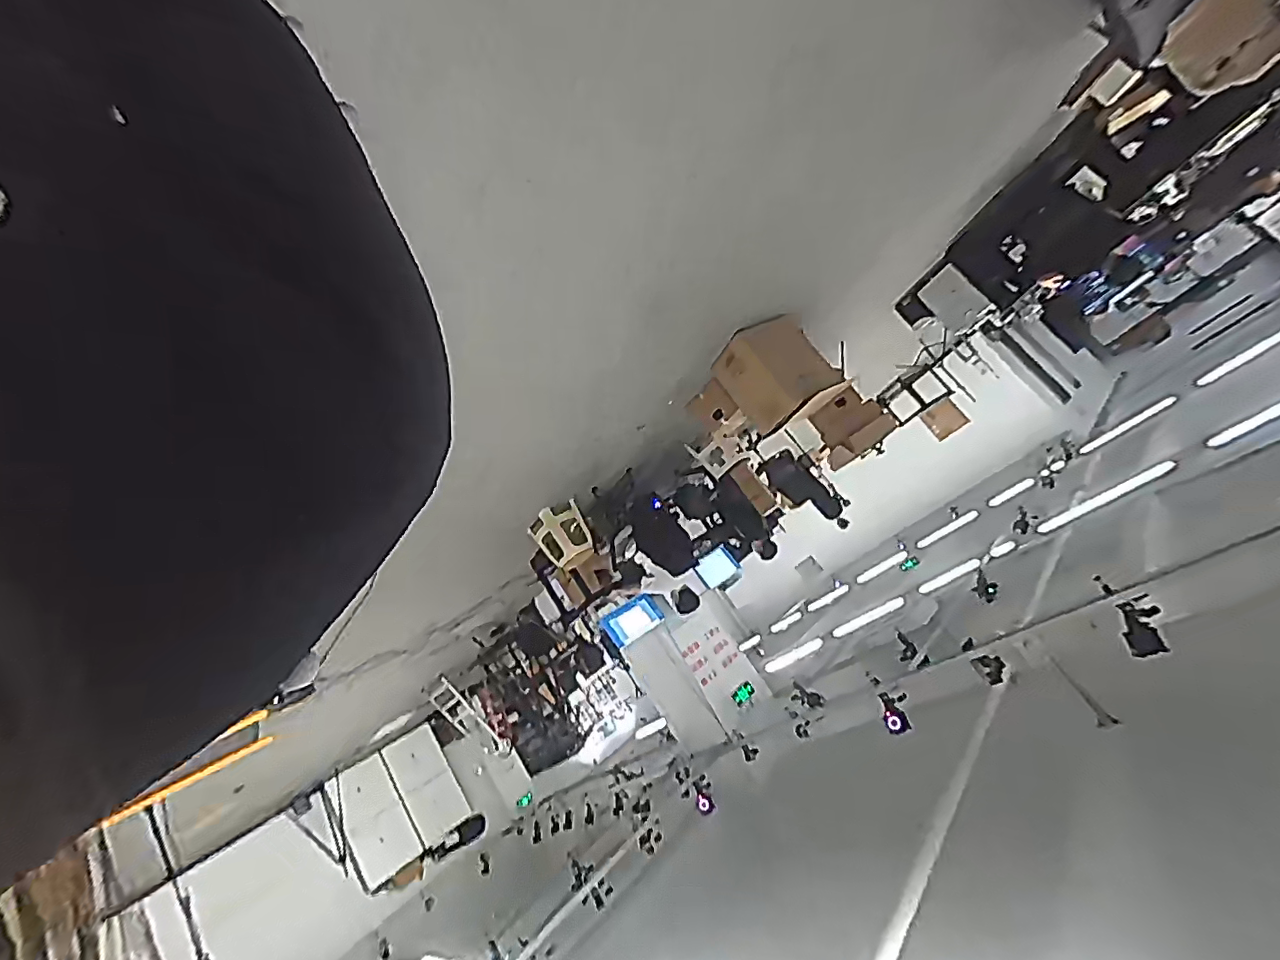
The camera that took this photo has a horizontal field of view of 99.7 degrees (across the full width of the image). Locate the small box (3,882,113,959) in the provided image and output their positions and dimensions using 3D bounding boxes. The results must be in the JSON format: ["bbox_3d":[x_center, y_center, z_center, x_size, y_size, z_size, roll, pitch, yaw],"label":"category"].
[{"bbox_3d":[-1.610,1.261,1.502,0.168,0.176,0.179,-22,159,-46],"label":"small box"}]

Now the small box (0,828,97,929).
[{"bbox_3d":[-1.702,1.130,1.541,0.168,0.176,0.179,-24,160,-42],"label":"small box"}]
